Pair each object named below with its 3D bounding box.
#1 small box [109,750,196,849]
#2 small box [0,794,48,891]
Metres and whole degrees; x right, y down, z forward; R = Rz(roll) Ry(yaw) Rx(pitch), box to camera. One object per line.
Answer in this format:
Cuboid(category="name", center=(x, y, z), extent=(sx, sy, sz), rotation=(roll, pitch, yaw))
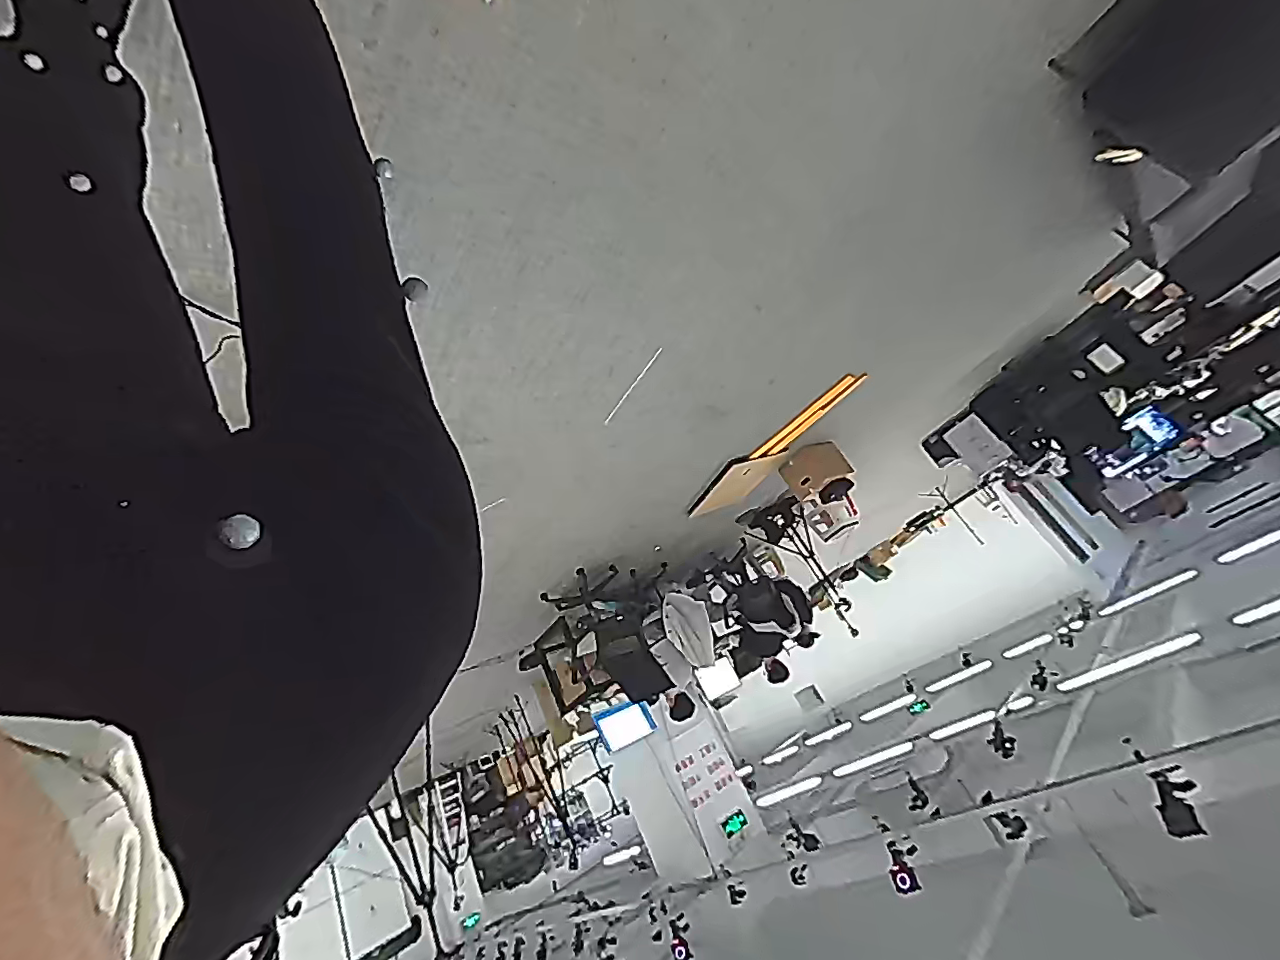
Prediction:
Cuboid(category="small box", center=(-1.361, 0.883, 1.508), extent=(0.168, 0.176, 0.179), rotation=(-4, 146, -44))
Cuboid(category="small box", center=(-1.562, 0.894, 1.308), extent=(0.168, 0.176, 0.179), rotation=(-5, 146, -44))
